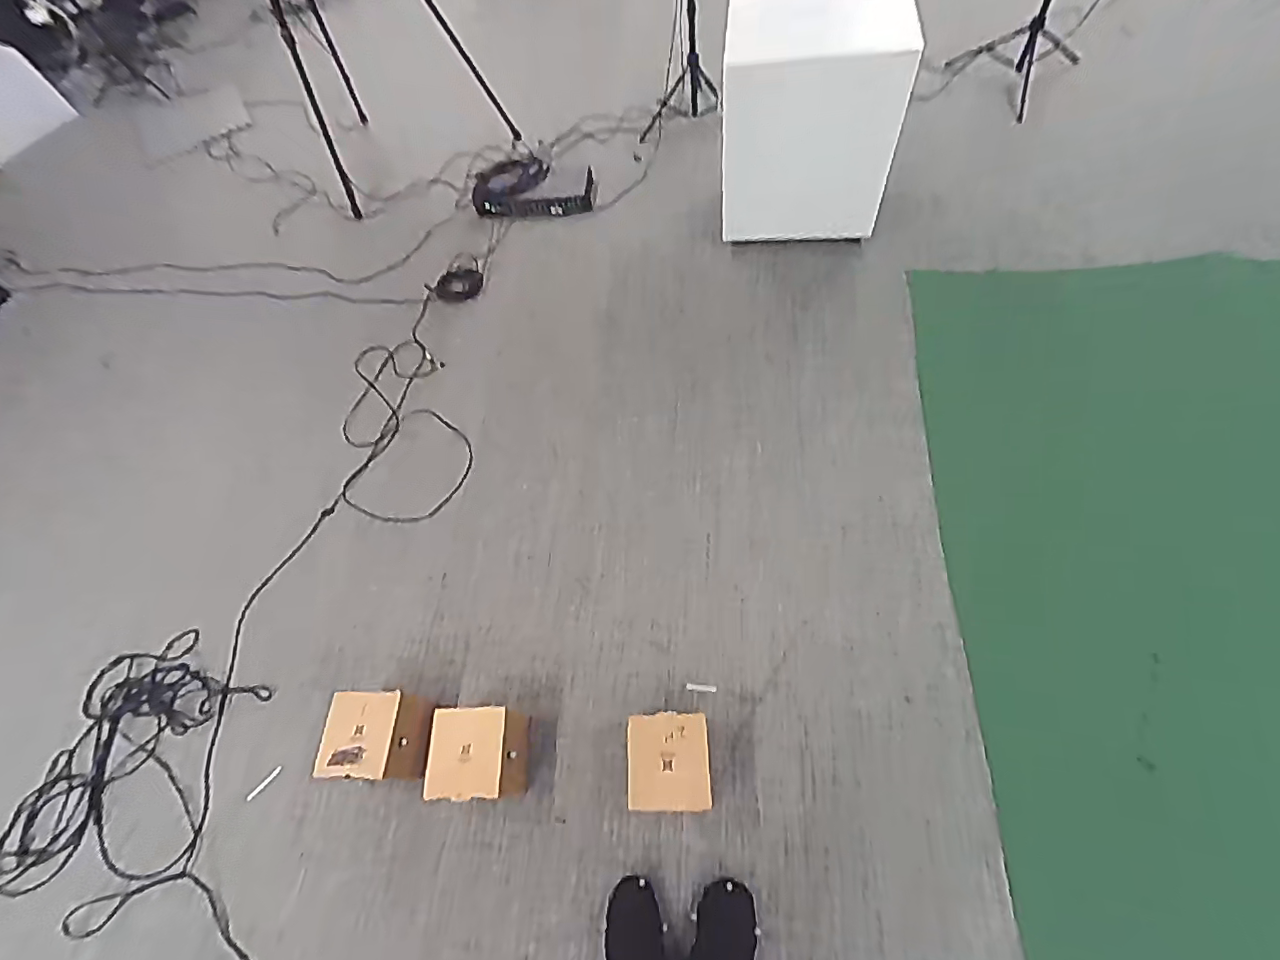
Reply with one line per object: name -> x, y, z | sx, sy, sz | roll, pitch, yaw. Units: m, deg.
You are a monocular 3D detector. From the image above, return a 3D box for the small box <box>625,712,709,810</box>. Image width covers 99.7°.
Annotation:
small box -> 0.061, 0.597, 1.158 | 0.168, 0.176, 0.179 | -3, 63, 5

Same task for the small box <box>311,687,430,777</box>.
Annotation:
small box -> -0.613, 0.586, 1.256 | 0.168, 0.176, 0.179 | -2, 62, 7

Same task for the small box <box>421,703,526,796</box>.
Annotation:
small box -> -0.362, 0.604, 1.213 | 0.168, 0.176, 0.179 | -5, 63, 6
